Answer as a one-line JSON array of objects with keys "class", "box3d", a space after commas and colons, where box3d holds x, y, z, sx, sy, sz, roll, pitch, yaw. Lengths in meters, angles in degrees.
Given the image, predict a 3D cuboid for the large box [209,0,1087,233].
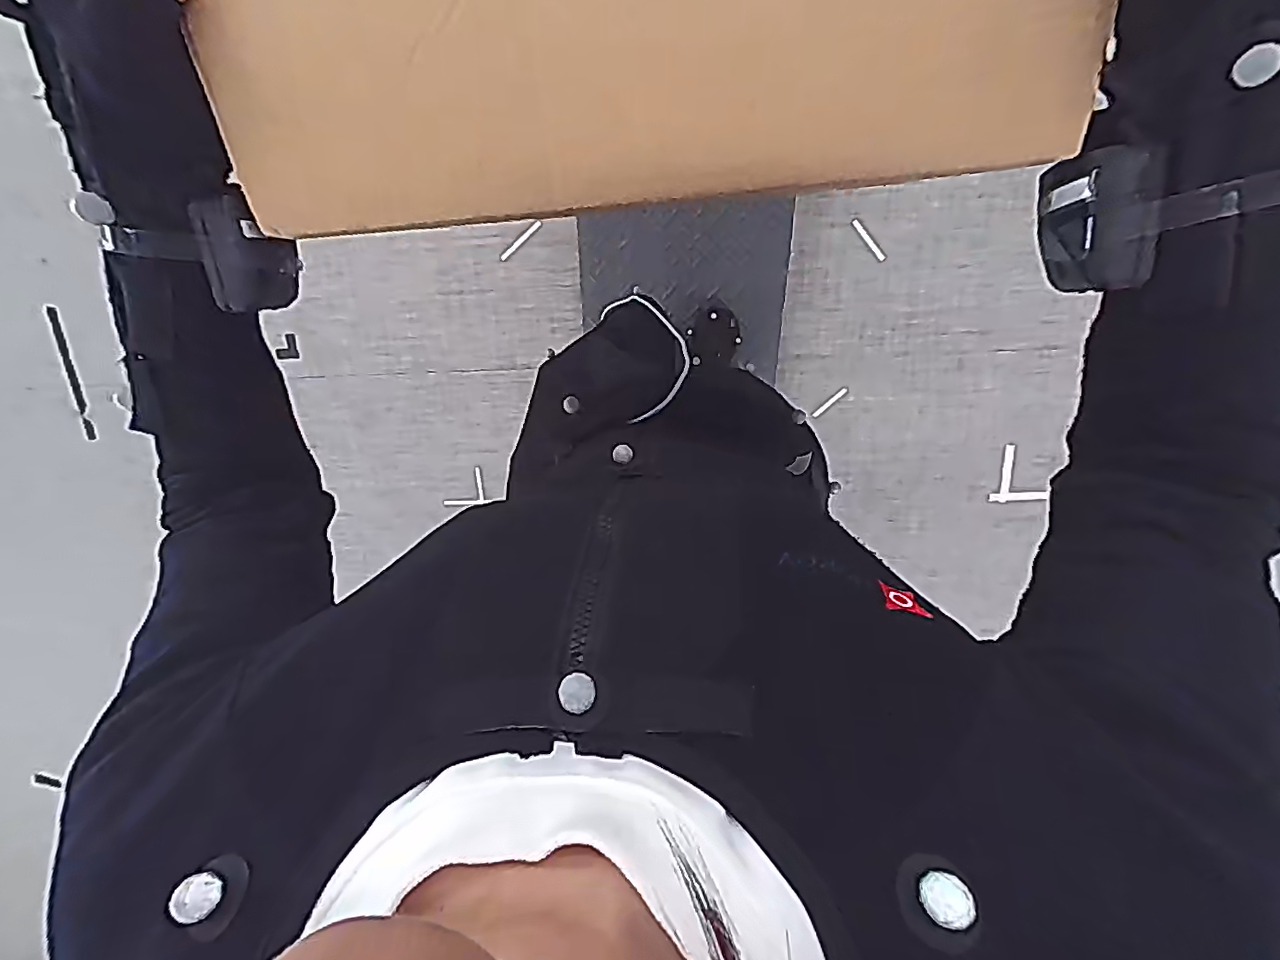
[{"class": "large box", "box3d": [-0.002, -0.353, 0.344, 0.408, 0.320, 0.320, -2, 117, 7]}]
